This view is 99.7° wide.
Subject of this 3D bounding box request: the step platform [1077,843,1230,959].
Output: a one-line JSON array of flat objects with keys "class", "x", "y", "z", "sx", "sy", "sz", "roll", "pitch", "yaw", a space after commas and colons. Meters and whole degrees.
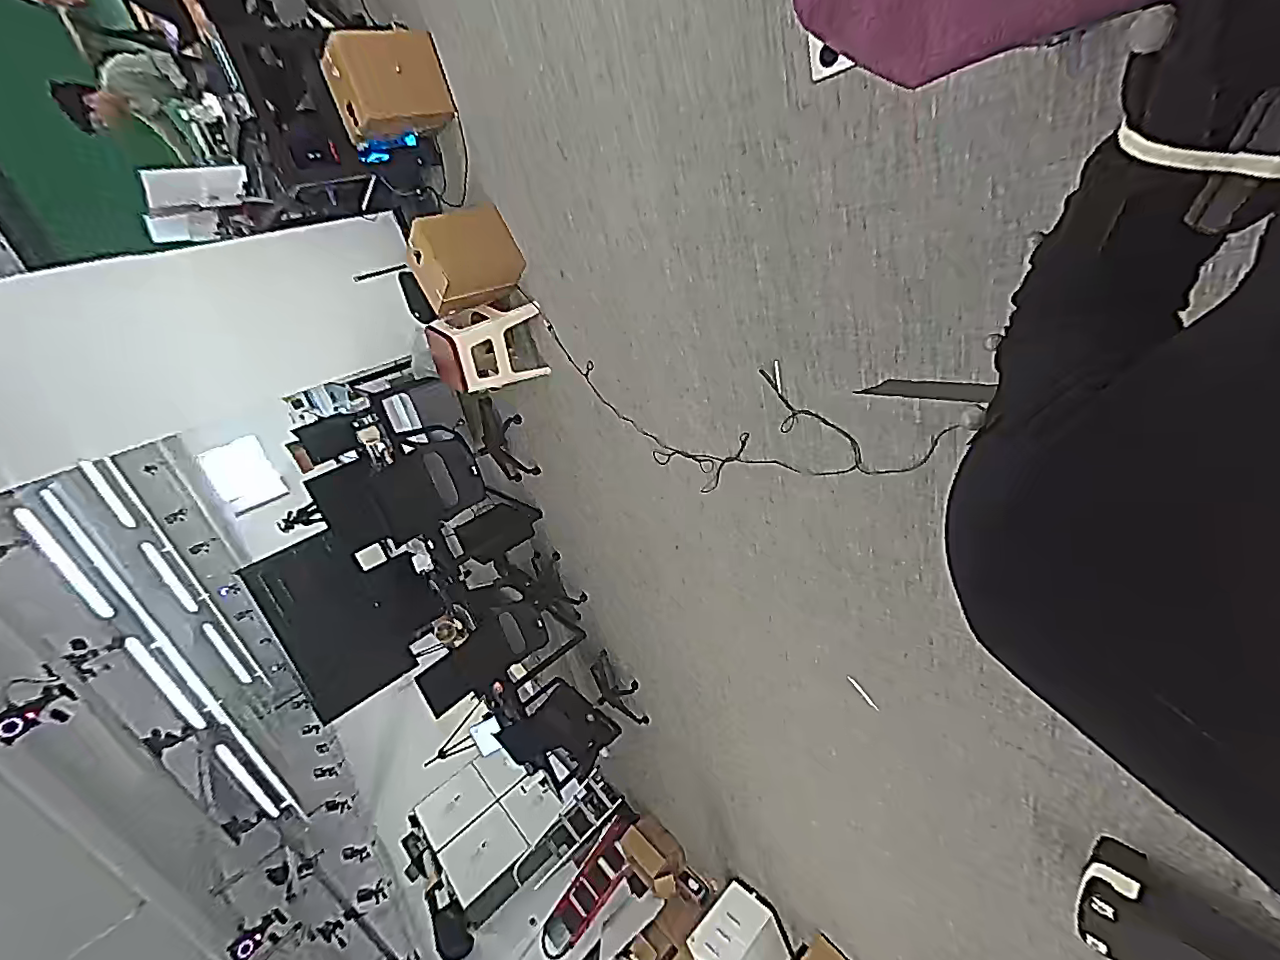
[{"class": "step platform", "x": 1.580, "y": 1.315, "z": 1.409, "sx": 0.684, "sy": 0.204, "sz": 0.286, "roll": 15, "pitch": 129, "yaw": 48}]
